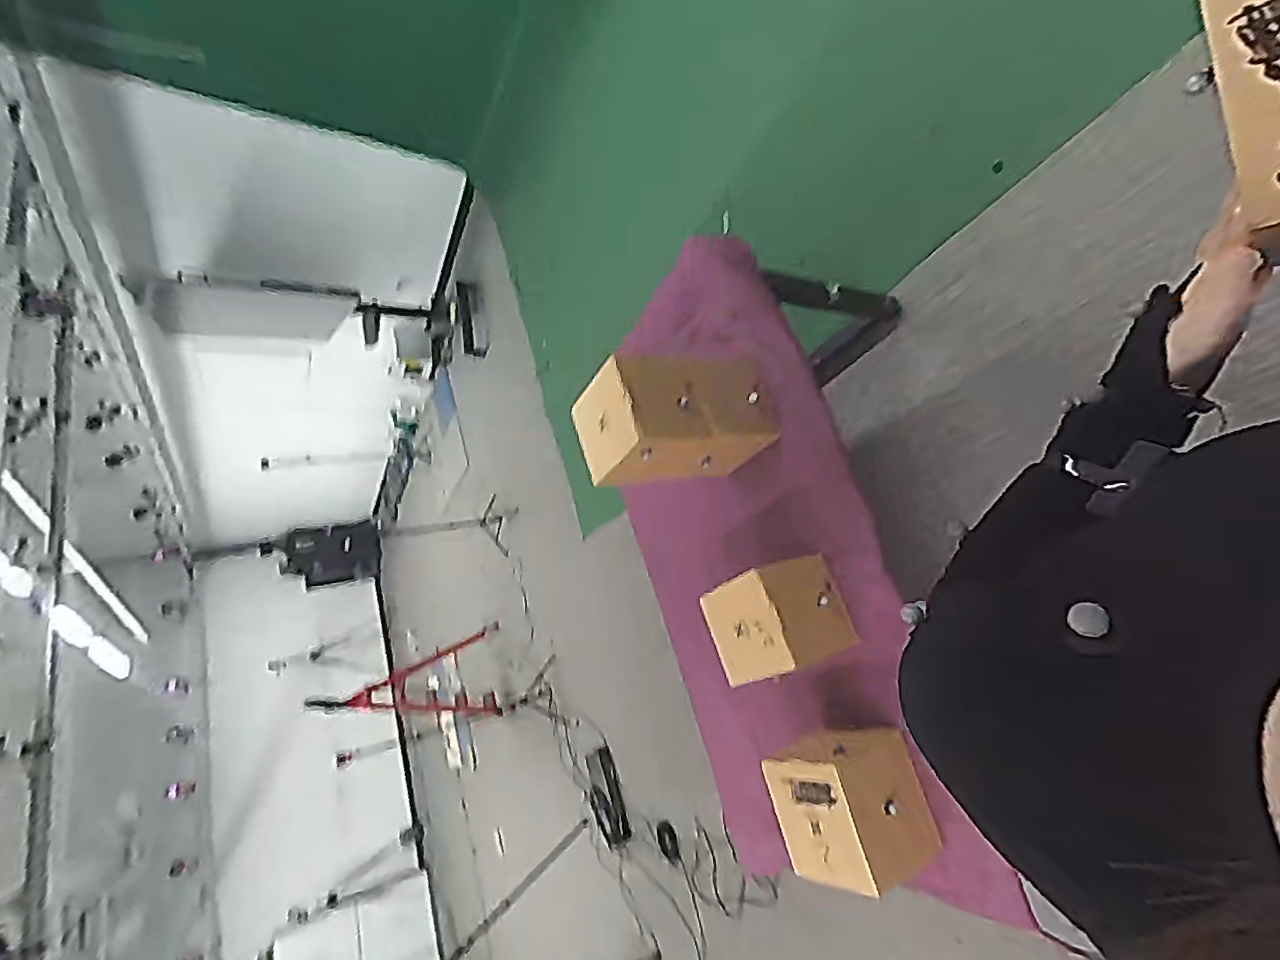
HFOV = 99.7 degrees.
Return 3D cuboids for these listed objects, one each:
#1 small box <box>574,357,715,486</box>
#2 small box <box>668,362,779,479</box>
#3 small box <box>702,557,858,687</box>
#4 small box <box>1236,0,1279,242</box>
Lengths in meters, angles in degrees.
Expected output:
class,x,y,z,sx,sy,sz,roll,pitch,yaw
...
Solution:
class,x,y,z,sx,sy,sz,roll,pitch,yaw
small box,0.005,-0.101,0.985,0.179,0.176,0.168,-43,60,48
small box,0.140,-0.114,1.074,0.179,0.176,0.168,-41,61,48
small box,0.246,0.251,0.965,0.179,0.176,0.168,-45,59,49
small box,0.445,-0.243,0.276,0.179,0.176,0.168,-9,89,52
